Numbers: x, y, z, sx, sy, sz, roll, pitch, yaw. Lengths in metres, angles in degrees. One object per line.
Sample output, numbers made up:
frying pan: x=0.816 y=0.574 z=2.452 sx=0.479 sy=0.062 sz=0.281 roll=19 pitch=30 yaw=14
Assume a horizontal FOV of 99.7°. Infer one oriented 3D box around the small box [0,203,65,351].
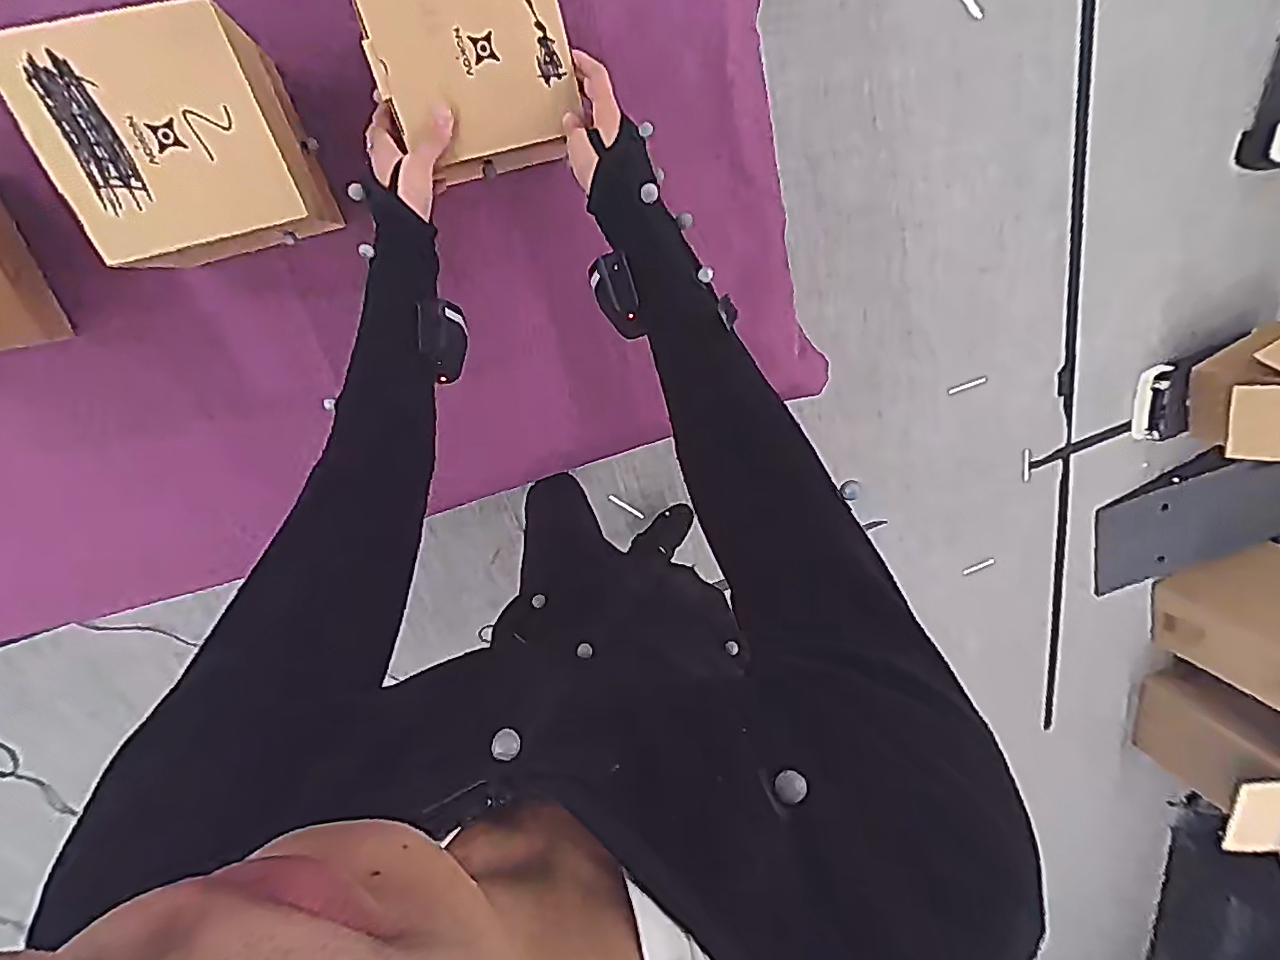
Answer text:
small box: x=-0.696 y=-0.190 z=0.482 sx=0.168 sy=0.176 sz=0.179 roll=-15 pitch=114 yaw=-12
